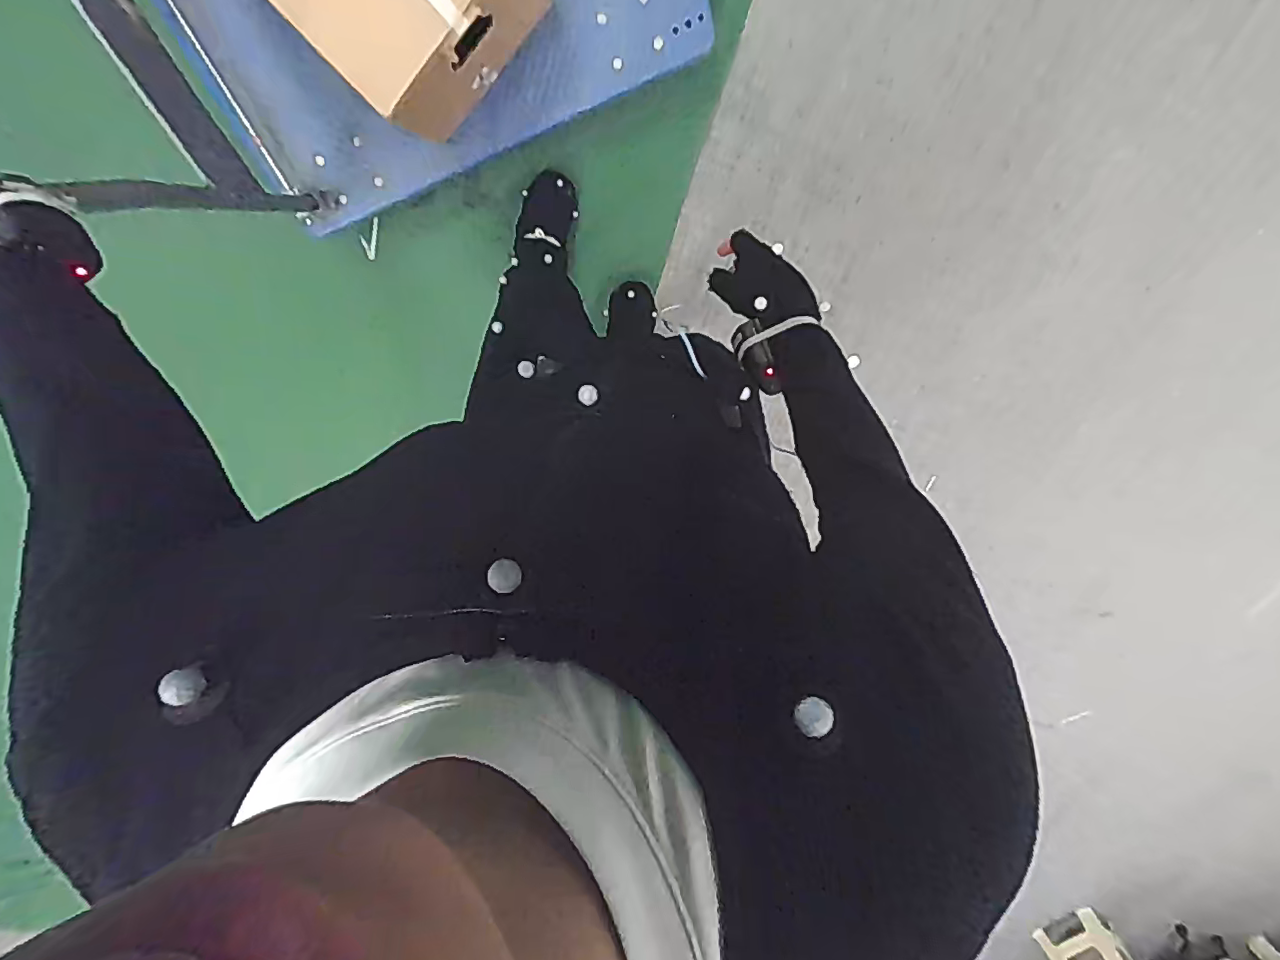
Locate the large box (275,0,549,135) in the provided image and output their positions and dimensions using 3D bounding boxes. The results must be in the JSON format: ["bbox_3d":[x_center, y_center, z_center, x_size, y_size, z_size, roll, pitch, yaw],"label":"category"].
[{"bbox_3d":[-0.384,-0.797,0.774,0.320,0.320,0.408,-42,111,15],"label":"large box"}]
